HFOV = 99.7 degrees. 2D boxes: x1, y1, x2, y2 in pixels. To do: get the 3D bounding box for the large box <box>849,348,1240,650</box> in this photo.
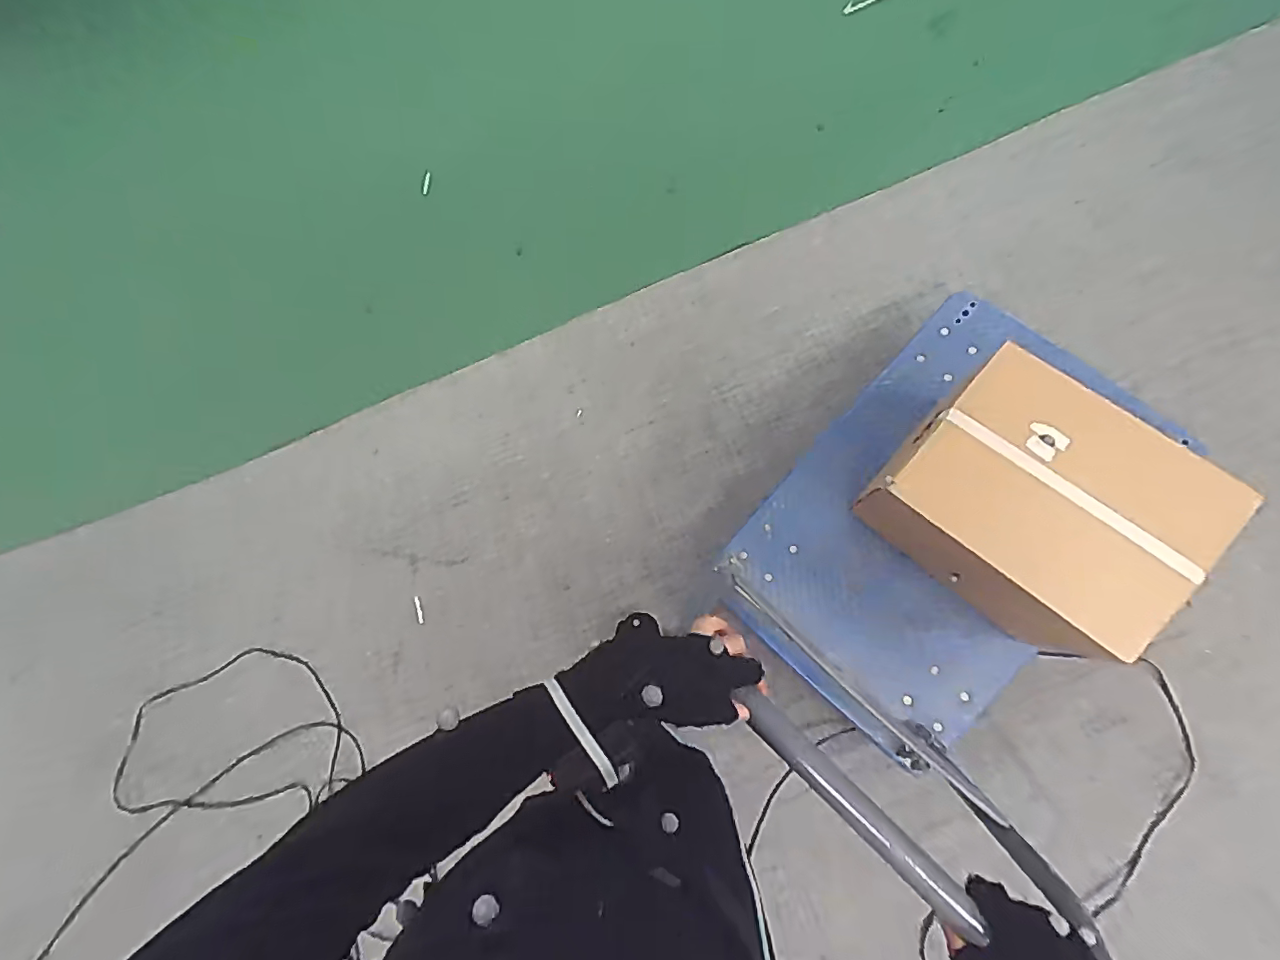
[{"bbox_3d":[0.660,0.042,0.976,0.408,0.320,0.320,39,88,15],"label":"large box"}]
